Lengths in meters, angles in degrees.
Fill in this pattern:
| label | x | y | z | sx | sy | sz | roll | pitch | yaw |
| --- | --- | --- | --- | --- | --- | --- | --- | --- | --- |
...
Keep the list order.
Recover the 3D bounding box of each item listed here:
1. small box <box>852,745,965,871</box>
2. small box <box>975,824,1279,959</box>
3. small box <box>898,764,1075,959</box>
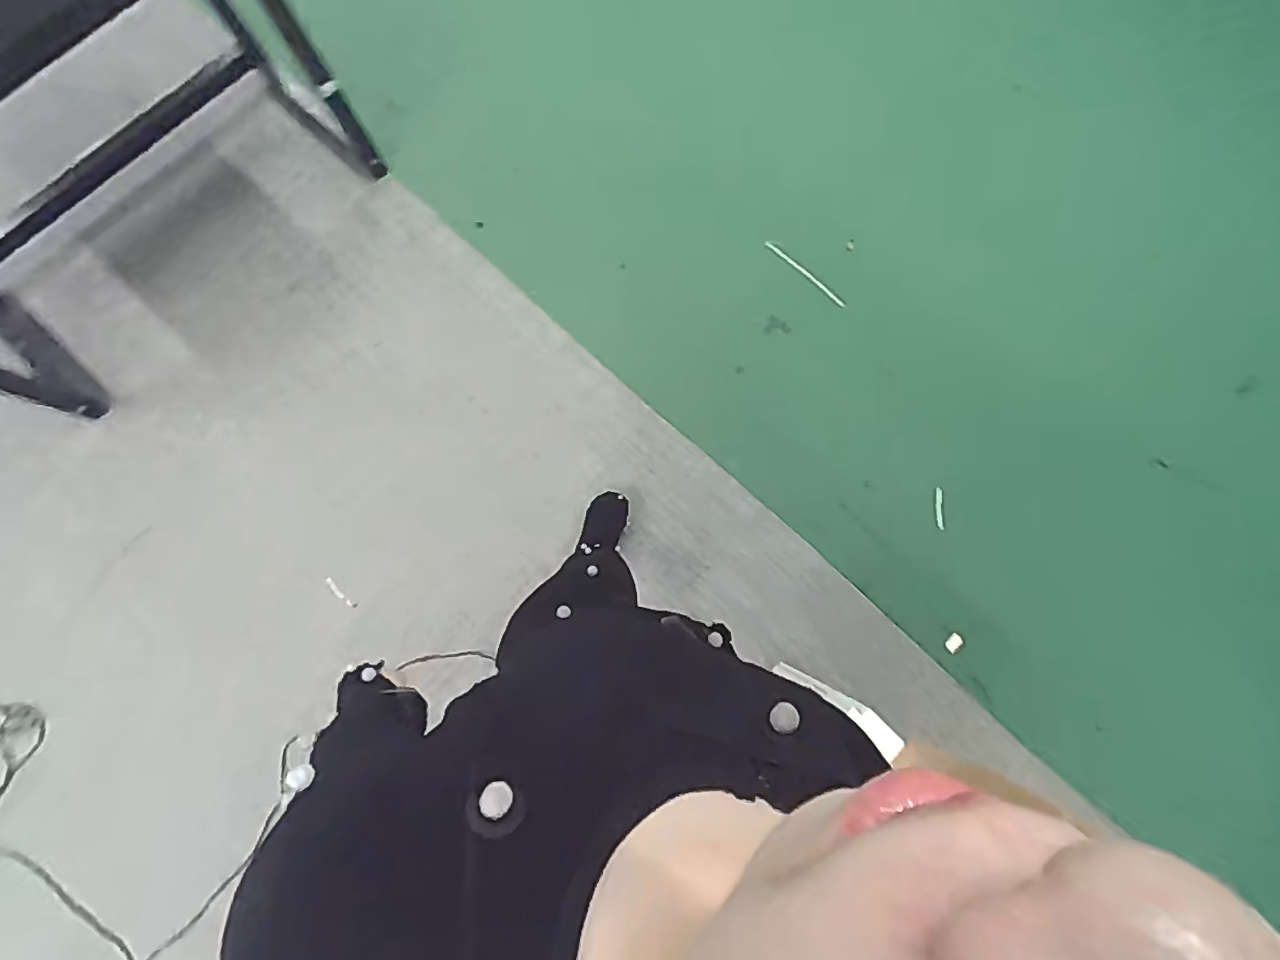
| label | x | y | z | sx | sy | sz | roll | pitch | yaw |
| --- | --- | --- | --- | --- | --- | --- | --- | --- | --- |
| small box | 0.442 | 0.512 | 0.775 | 0.168 | 0.176 | 0.179 | -44 | 83 | -6 |
| small box | 0.437 | 0.444 | 0.457 | 0.179 | 0.176 | 0.168 | -43 | 83 | -7 |
| small box | 0.431 | 0.471 | 0.618 | 0.168 | 0.176 | 0.179 | 44 | 82 | 6 |
